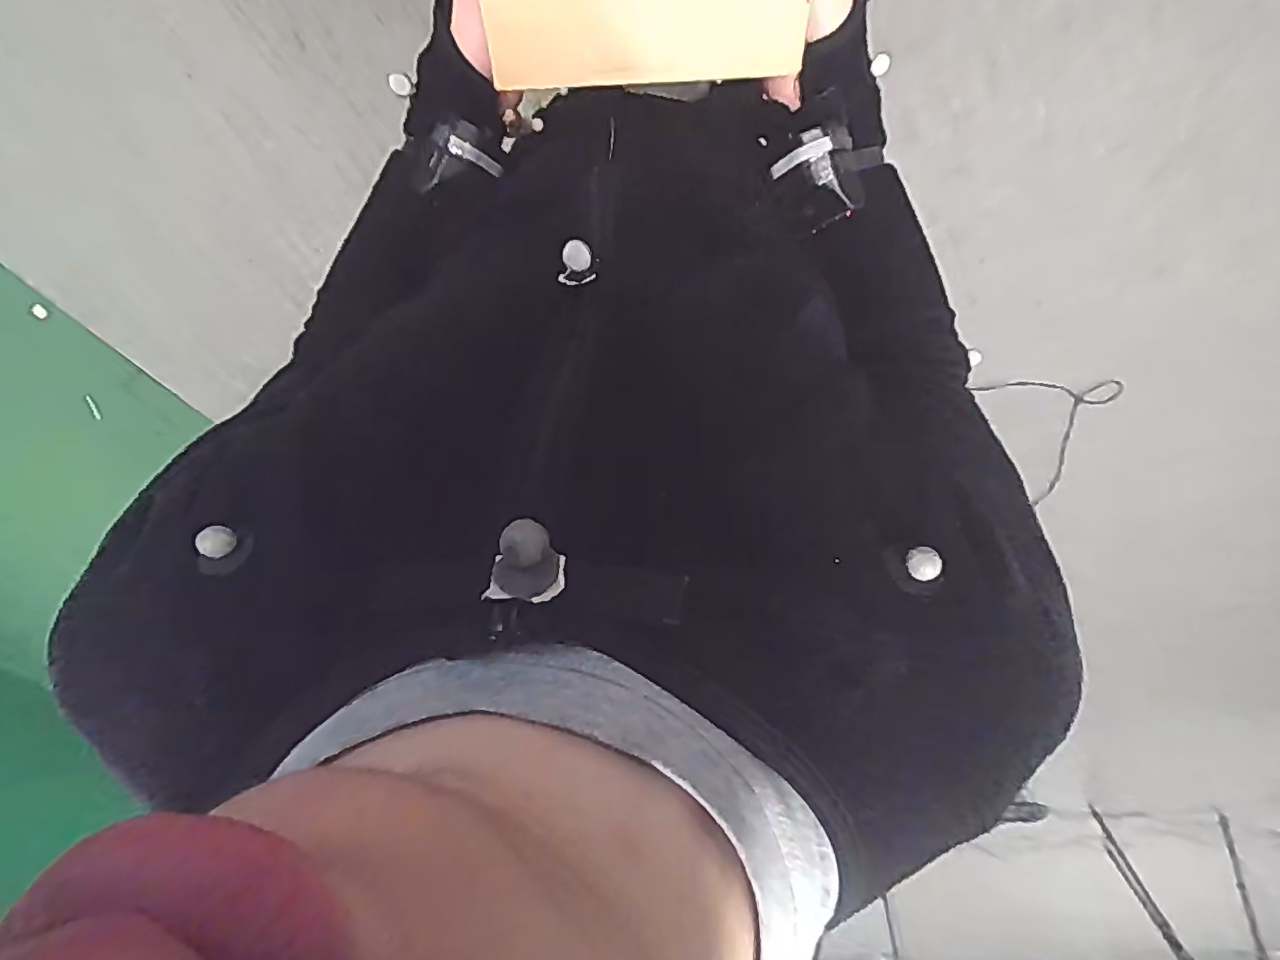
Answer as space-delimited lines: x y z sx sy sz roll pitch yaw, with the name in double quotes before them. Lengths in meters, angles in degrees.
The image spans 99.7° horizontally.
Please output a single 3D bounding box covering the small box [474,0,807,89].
"small box" -0.003 -0.339 0.298 0.179 0.176 0.168 -2 138 2
